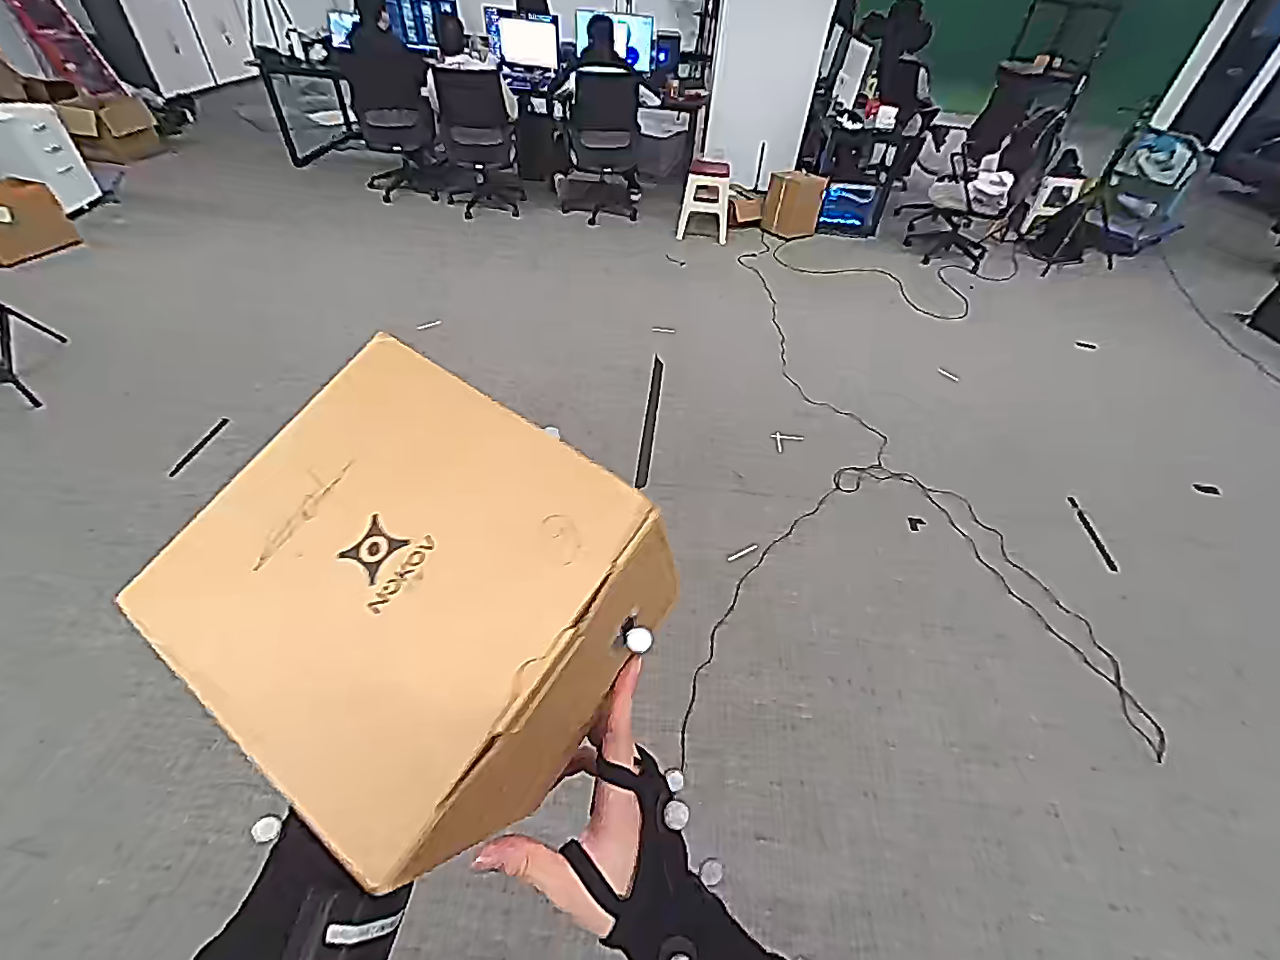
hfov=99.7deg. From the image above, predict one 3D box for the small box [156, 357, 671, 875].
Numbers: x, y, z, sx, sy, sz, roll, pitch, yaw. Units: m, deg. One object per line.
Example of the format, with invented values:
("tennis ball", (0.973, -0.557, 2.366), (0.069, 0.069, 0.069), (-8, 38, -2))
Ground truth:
("small box", (-0.095, 0.069, 0.312), (0.179, 0.176, 0.168), (30, 73, 19))
